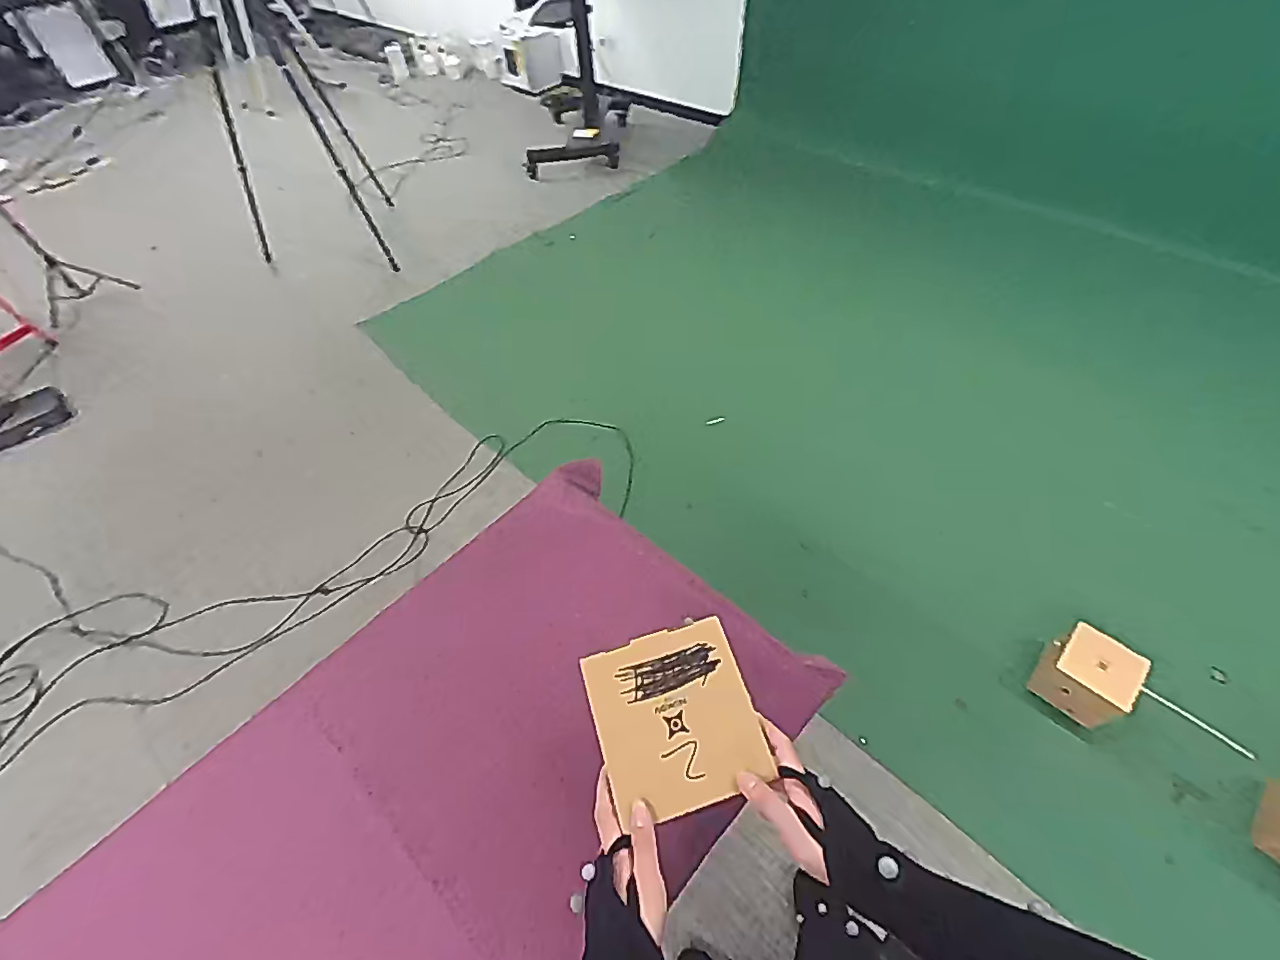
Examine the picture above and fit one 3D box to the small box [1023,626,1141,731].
[{"bbox_3d":[1.170,0.534,1.446,0.168,0.176,0.179,36,61,27],"label":"small box"}]
